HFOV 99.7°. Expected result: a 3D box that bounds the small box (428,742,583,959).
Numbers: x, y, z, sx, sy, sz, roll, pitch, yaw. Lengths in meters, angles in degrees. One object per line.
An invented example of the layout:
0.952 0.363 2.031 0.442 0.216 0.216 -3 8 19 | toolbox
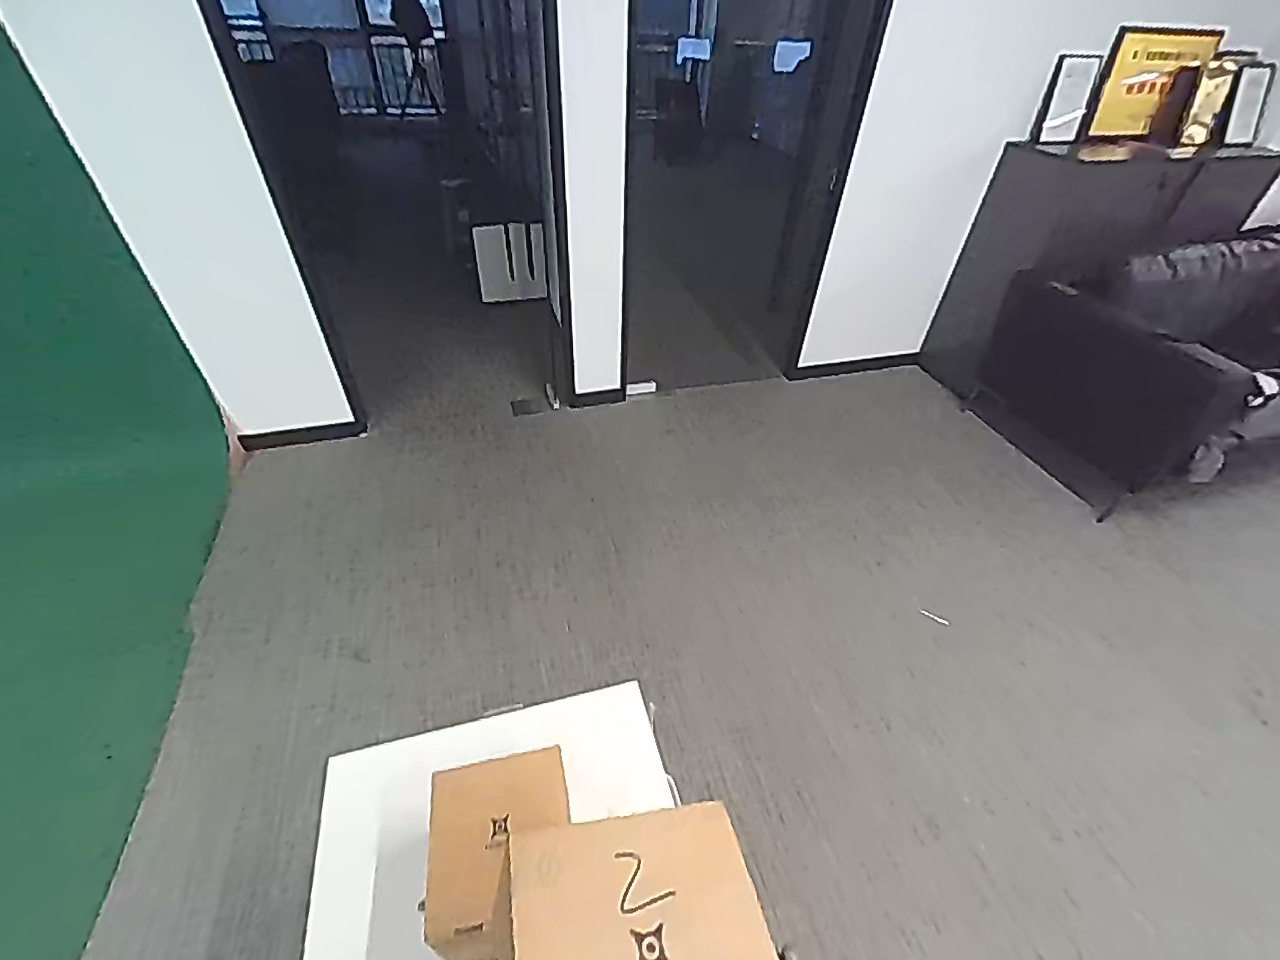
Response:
-0.167 0.475 0.696 0.168 0.176 0.179 -7 42 -12 | small box
